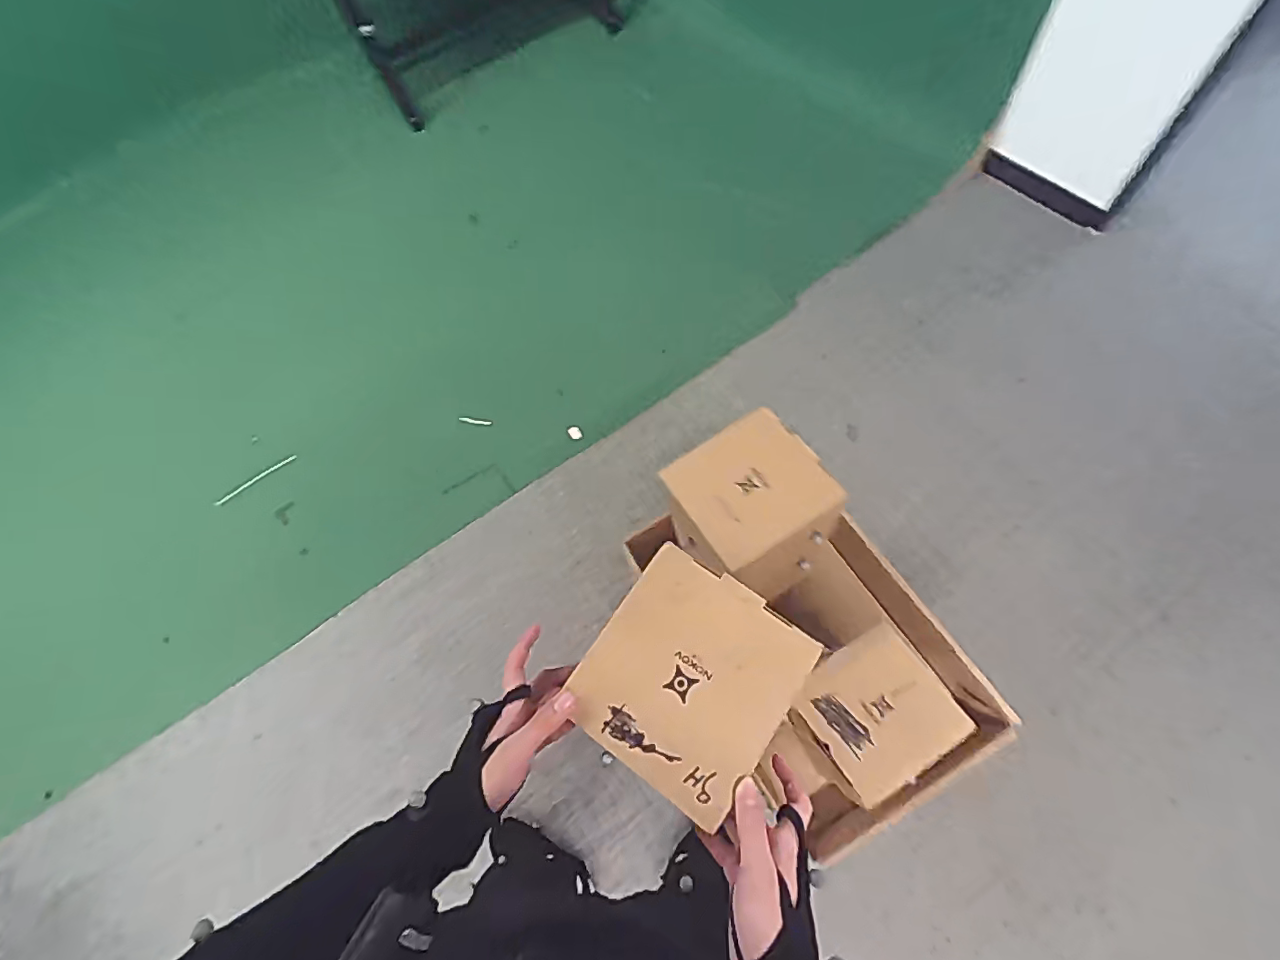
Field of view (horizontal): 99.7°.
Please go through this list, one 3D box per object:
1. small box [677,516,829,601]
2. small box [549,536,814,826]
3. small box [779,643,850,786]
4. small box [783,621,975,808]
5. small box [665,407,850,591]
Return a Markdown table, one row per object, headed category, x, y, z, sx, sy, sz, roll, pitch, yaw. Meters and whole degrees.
| category | x | y | z | sx | sy | sz | roll | pitch | yaw |
| --- | --- | --- | --- | --- | --- | --- | --- | --- | --- |
| small box | 0.180 | 0.104 | 0.898 | 0.179 | 0.176 | 0.168 | -32 | 64 | -6 |
| small box | 0.040 | 0.186 | 0.532 | 0.168 | 0.176 | 0.179 | 32 | 76 | 15 |
| small box | 0.348 | 0.389 | 0.924 | 0.179 | 0.176 | 0.168 | -29 | 65 | -4 |
| small box | 0.321 | 0.330 | 0.772 | 0.179 | 0.176 | 0.168 | -33 | 65 | -6 |
| small box | 0.154 | 0.037 | 0.752 | 0.179 | 0.176 | 0.168 | -32 | 64 | -6 |
